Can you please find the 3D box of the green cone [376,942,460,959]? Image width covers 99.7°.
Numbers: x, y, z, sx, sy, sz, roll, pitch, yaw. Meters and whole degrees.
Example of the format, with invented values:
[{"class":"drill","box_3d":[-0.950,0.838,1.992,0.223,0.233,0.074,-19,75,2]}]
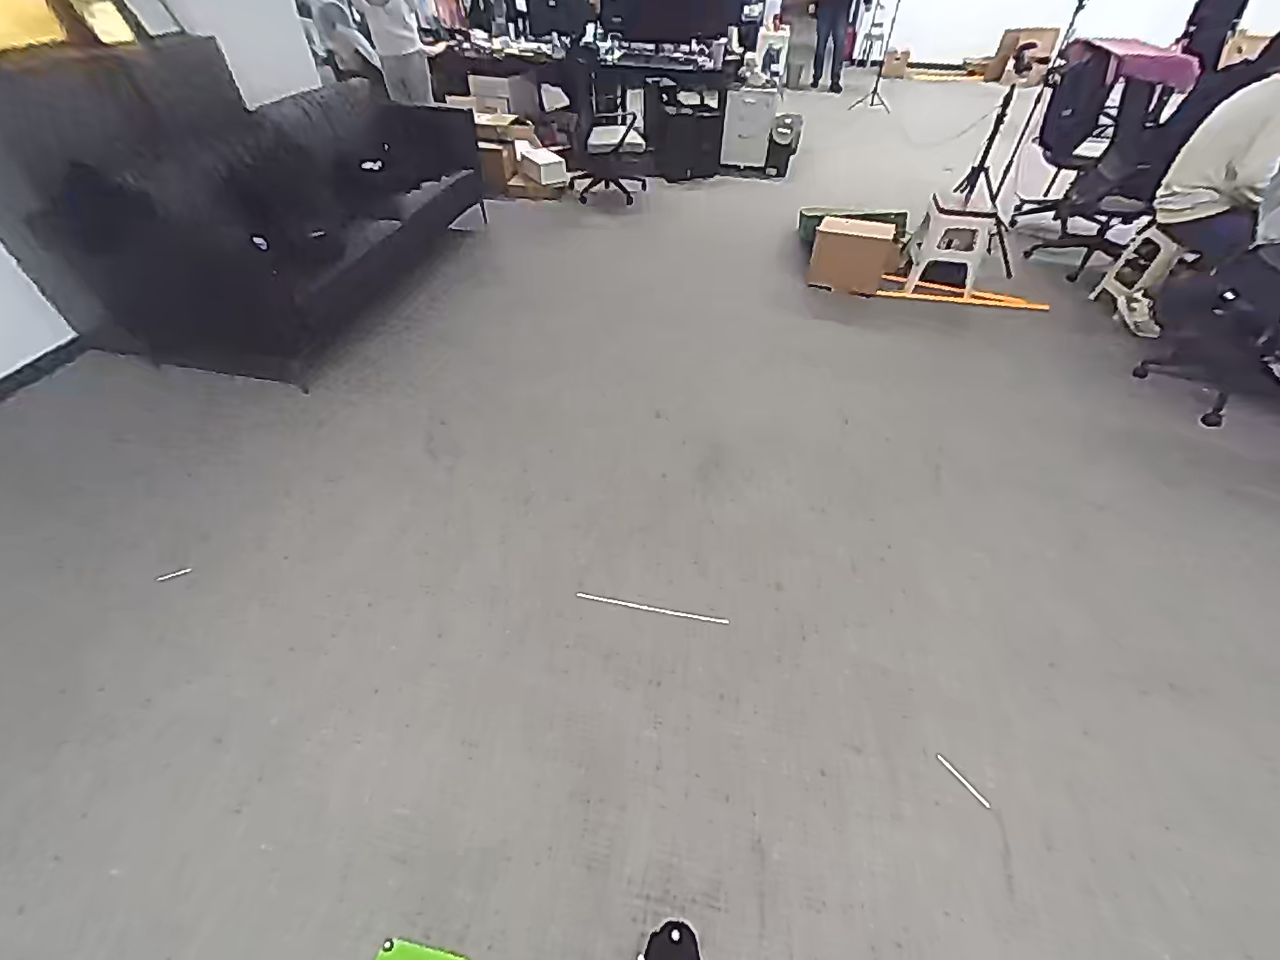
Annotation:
[{"class":"green cone","box_3d":[-0.449,0.920,0.920,0.202,0.368,0.200,9,46,7]}]
